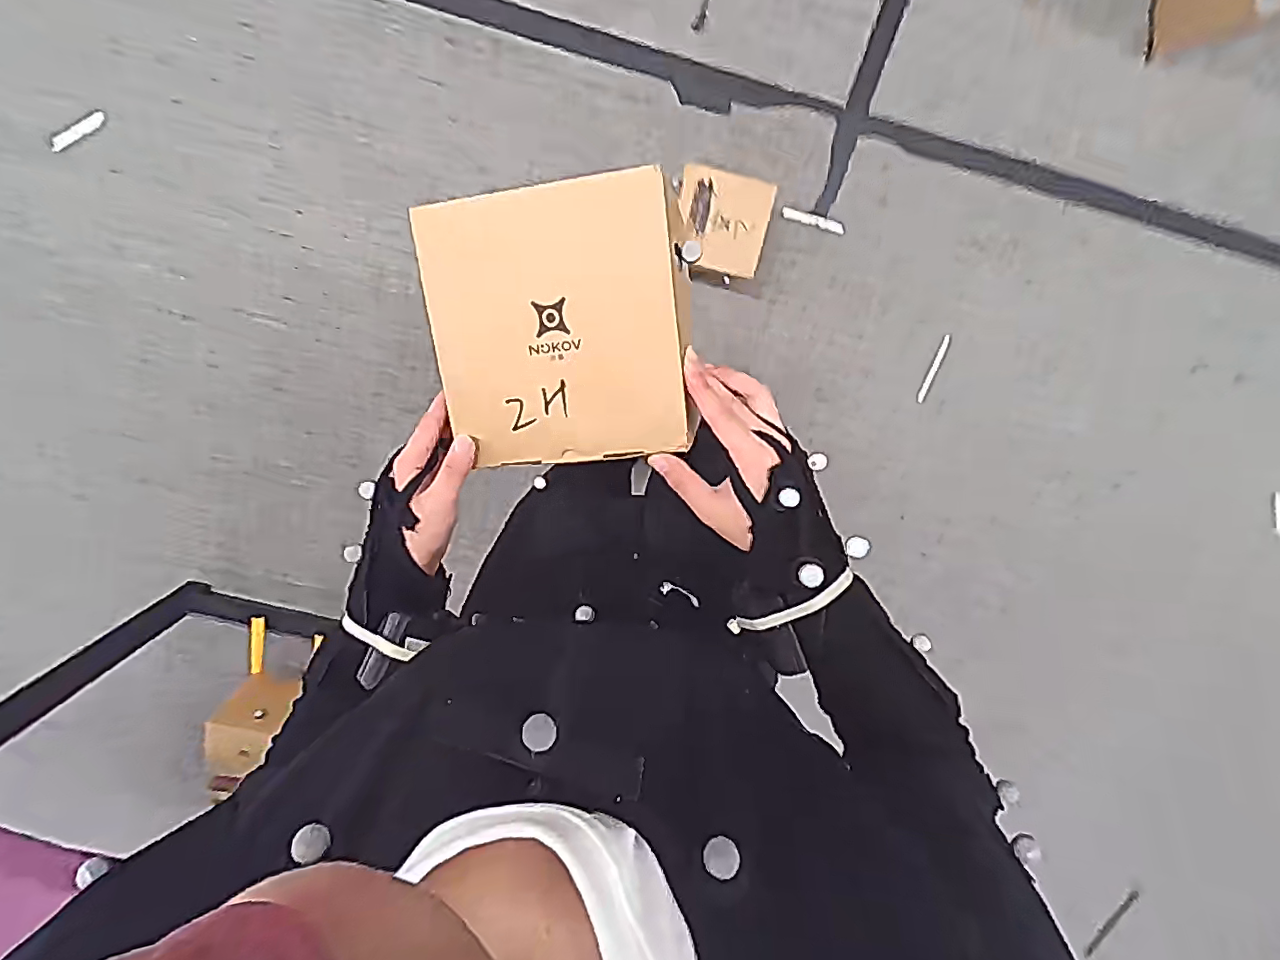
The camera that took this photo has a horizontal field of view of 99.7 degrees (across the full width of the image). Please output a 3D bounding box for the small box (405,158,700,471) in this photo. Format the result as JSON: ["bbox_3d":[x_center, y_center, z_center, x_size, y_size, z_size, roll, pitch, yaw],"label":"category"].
[{"bbox_3d":[-0.046,-0.113,0.418,0.168,0.176,0.179,-5,103,11],"label":"small box"}]

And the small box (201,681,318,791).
[{"bbox_3d":[-0.935,0.625,1.336,0.179,0.176,0.168,14,109,-6],"label":"small box"}]
